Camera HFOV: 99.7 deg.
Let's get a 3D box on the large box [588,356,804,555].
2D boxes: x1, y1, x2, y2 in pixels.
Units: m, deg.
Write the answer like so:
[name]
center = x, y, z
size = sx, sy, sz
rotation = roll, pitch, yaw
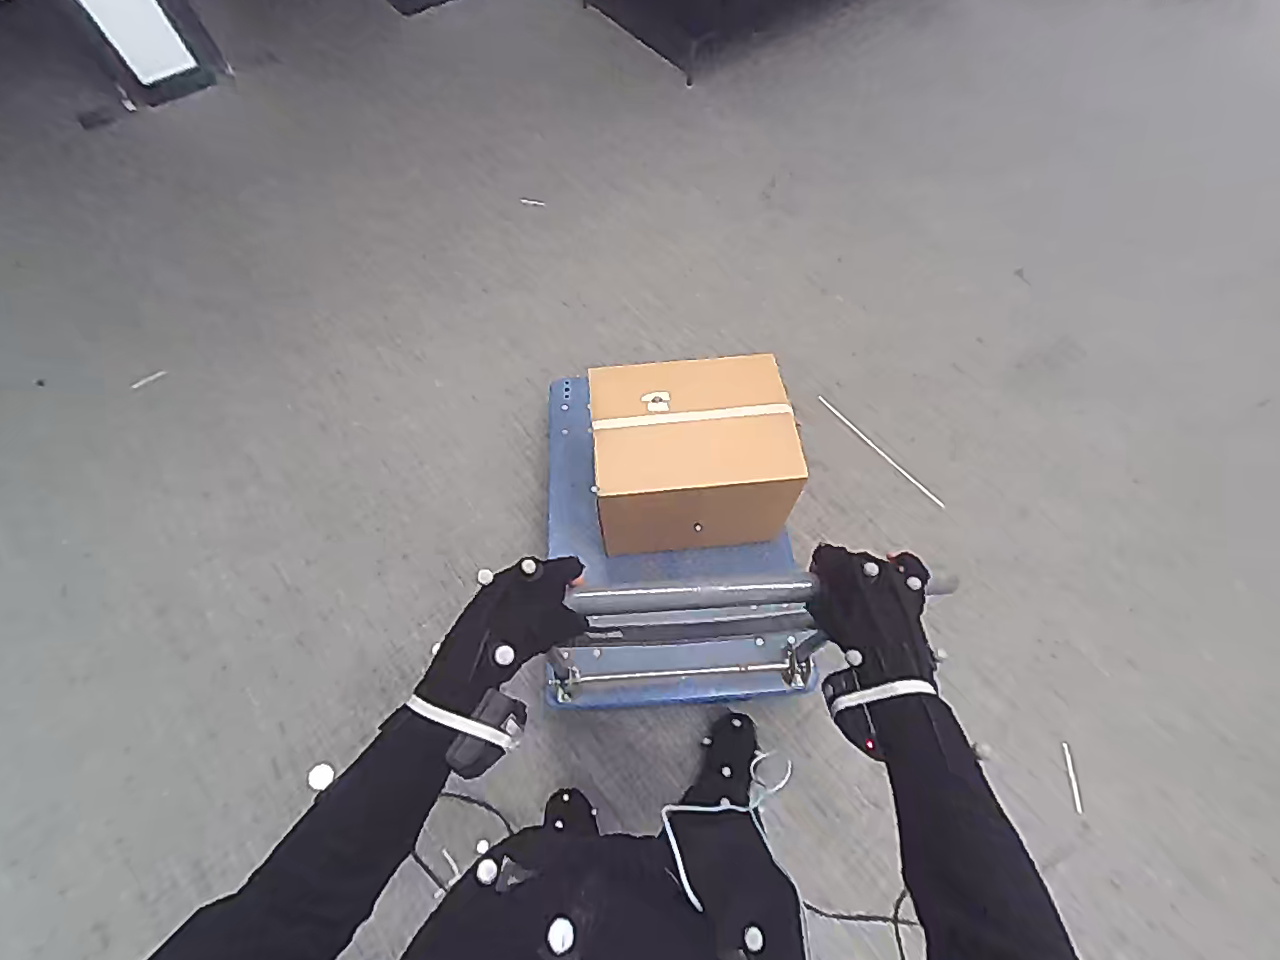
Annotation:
[large box]
center = 0.108, -0.044, 1.231
size = 0.408, 0.320, 0.320
rotation = -7, 61, -2
